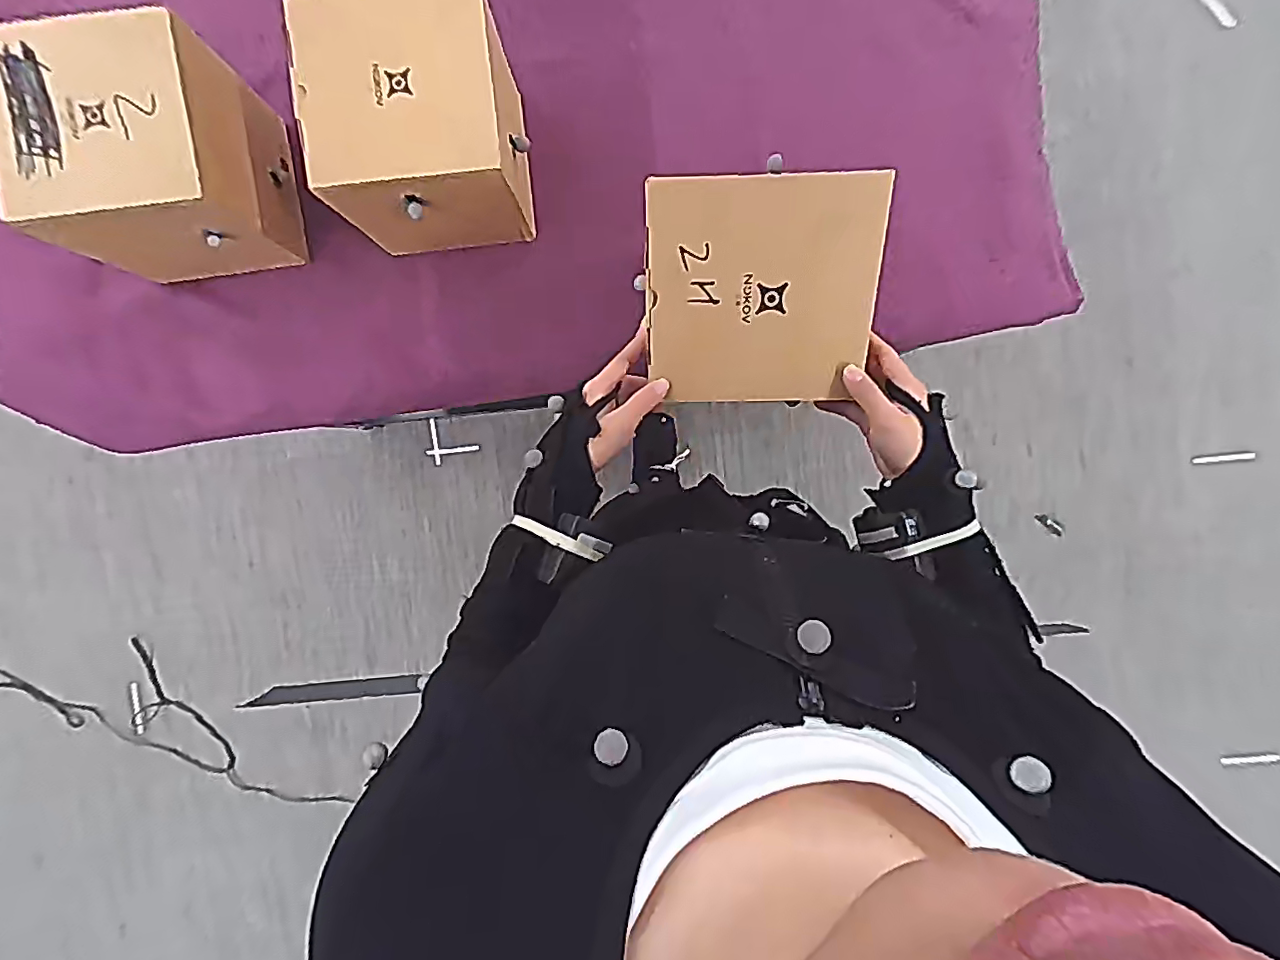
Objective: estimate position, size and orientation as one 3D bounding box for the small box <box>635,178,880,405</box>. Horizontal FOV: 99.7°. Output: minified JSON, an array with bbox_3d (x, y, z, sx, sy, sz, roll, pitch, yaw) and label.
[{"bbox_3d":[0.089,-0.171,0.486,0.179,0.176,0.168,-1,114,4],"label":"small box"}]

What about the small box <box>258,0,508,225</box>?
[{"bbox_3d":[-0.243,-0.386,0.556,0.179,0.176,0.168,-7,92,2],"label":"small box"}]
